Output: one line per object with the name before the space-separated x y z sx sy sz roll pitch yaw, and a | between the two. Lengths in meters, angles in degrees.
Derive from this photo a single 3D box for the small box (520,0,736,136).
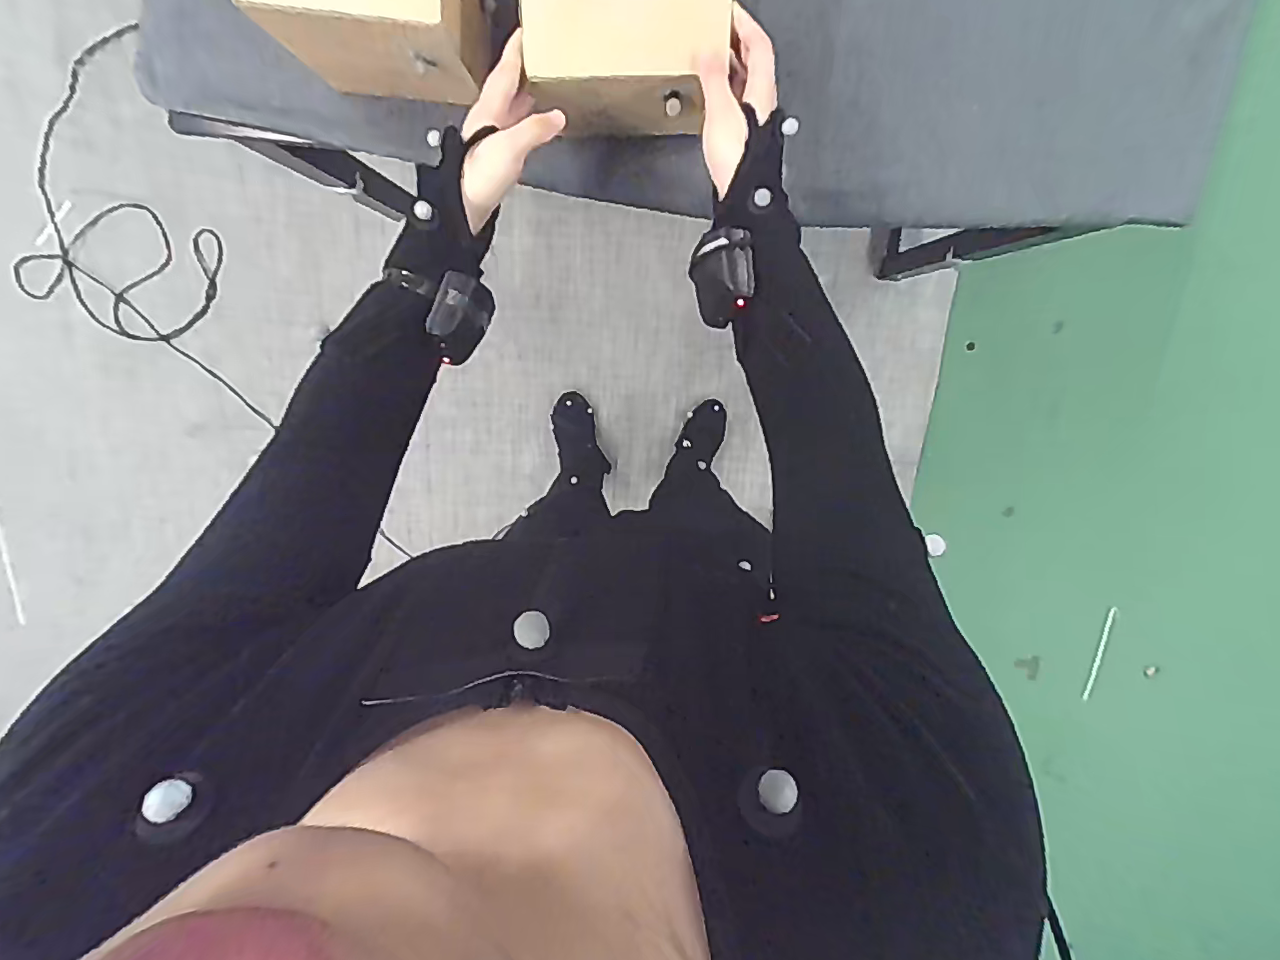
small box | -0.006 -0.436 0.501 0.179 0.176 0.168 2 109 4
